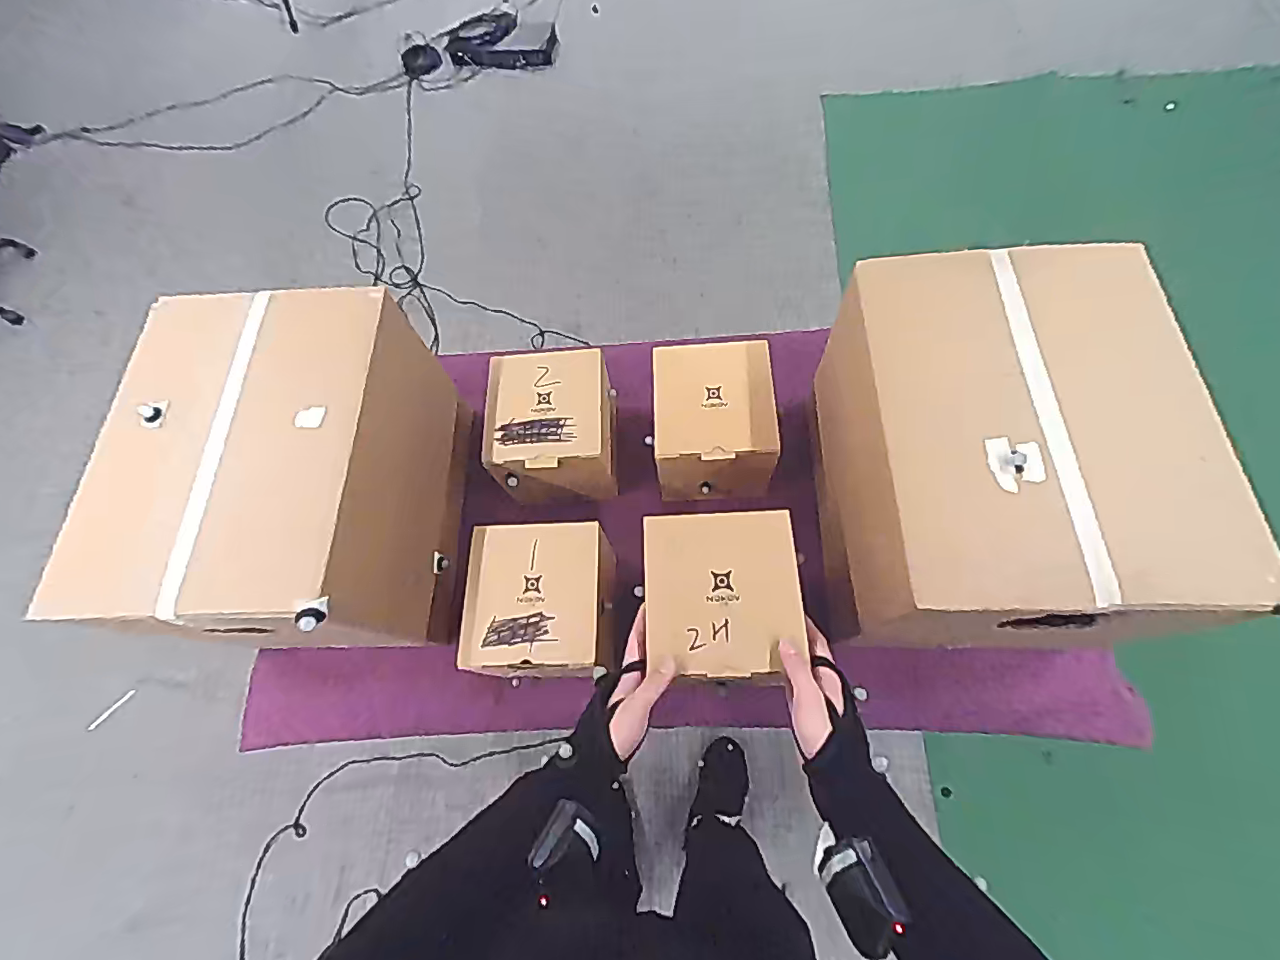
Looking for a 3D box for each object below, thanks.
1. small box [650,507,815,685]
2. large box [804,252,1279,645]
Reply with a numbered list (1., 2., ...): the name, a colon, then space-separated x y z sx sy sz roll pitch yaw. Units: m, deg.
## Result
1. small box: 0.097 0.145 0.646 0.168 0.176 0.179 -3 66 4
2. large box: 0.413 -0.014 0.679 0.320 0.320 0.408 -2 68 5
